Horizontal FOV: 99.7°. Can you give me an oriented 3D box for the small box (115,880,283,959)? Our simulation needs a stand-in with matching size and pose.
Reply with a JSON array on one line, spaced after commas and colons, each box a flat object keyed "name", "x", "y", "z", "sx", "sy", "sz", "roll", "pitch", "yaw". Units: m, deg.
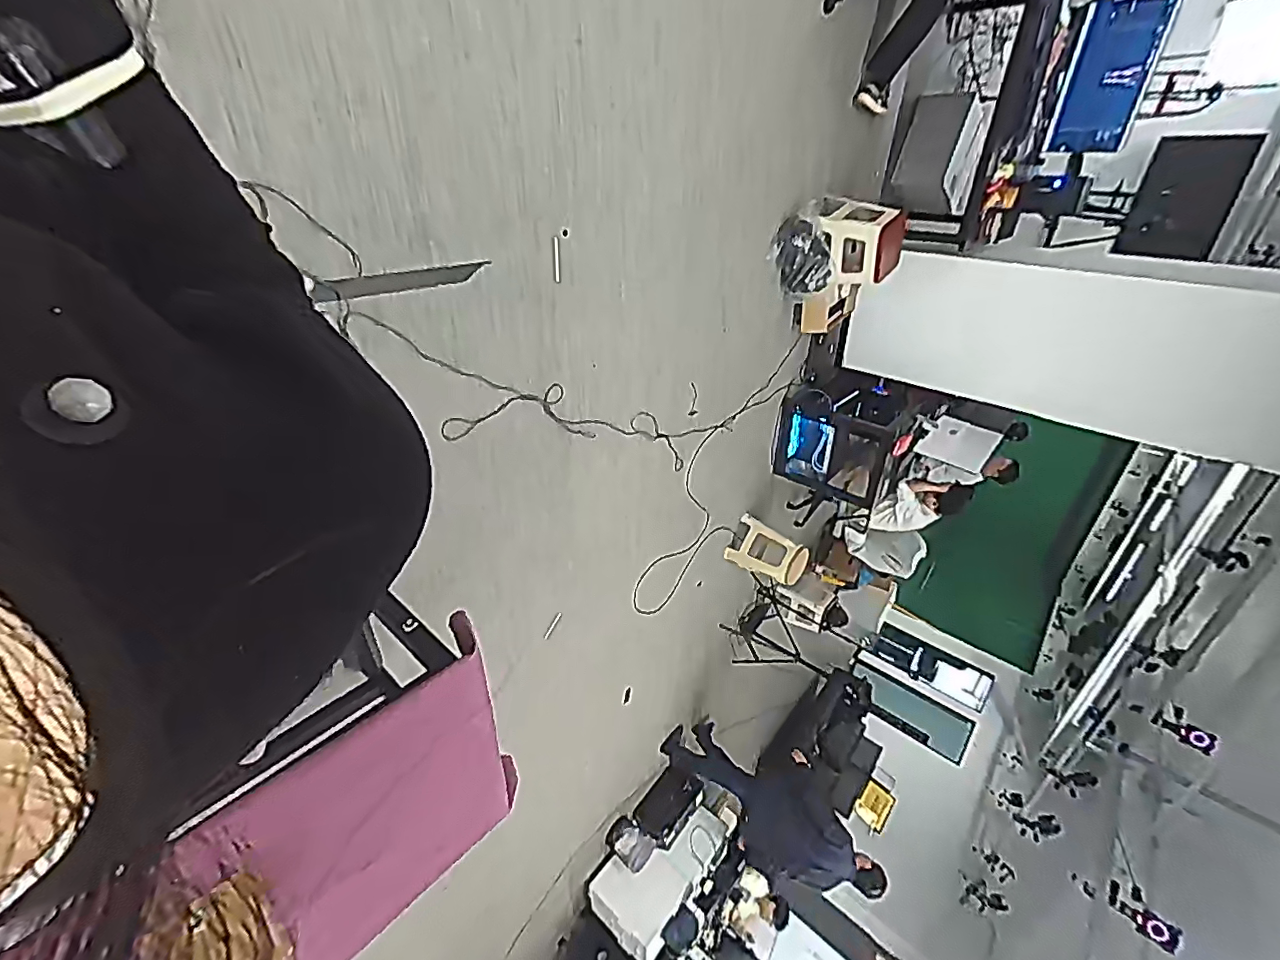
[{"name": "small box", "x": -0.659, "y": 0.771, "z": 0.828, "sx": 0.168, "sy": 0.176, "sz": 0.179, "roll": -29, "pitch": 132, "yaw": -44}]
